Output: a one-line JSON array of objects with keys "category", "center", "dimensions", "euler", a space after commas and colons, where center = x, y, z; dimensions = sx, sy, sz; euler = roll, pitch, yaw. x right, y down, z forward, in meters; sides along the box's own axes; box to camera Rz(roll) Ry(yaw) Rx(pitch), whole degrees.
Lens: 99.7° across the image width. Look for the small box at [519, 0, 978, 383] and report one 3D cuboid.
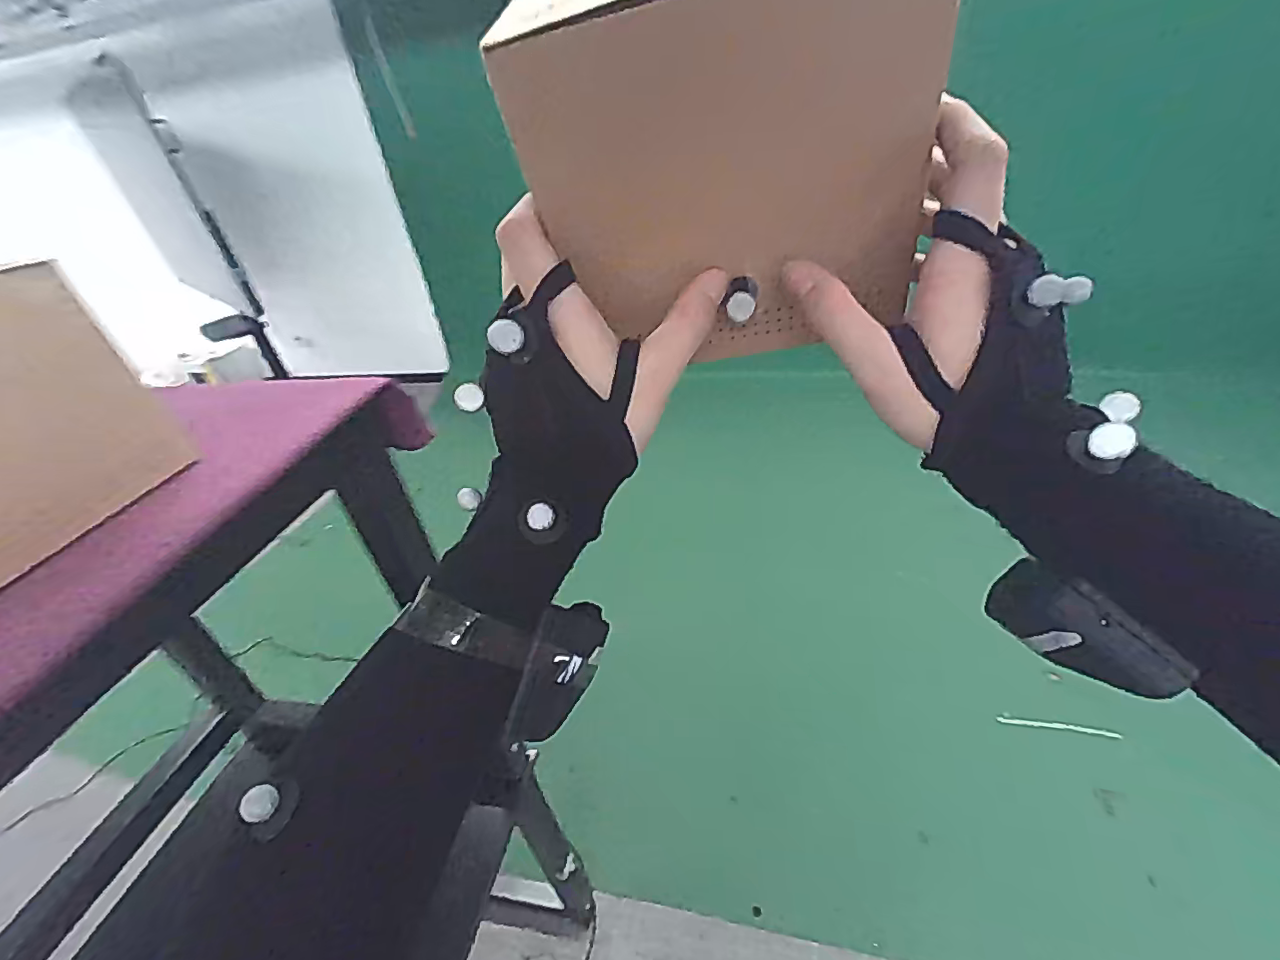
[{"category": "small box", "center": [0.053, -0.178, 0.313], "dimensions": [0.179, 0.176, 0.168], "euler": [-7, 49, 10]}]
